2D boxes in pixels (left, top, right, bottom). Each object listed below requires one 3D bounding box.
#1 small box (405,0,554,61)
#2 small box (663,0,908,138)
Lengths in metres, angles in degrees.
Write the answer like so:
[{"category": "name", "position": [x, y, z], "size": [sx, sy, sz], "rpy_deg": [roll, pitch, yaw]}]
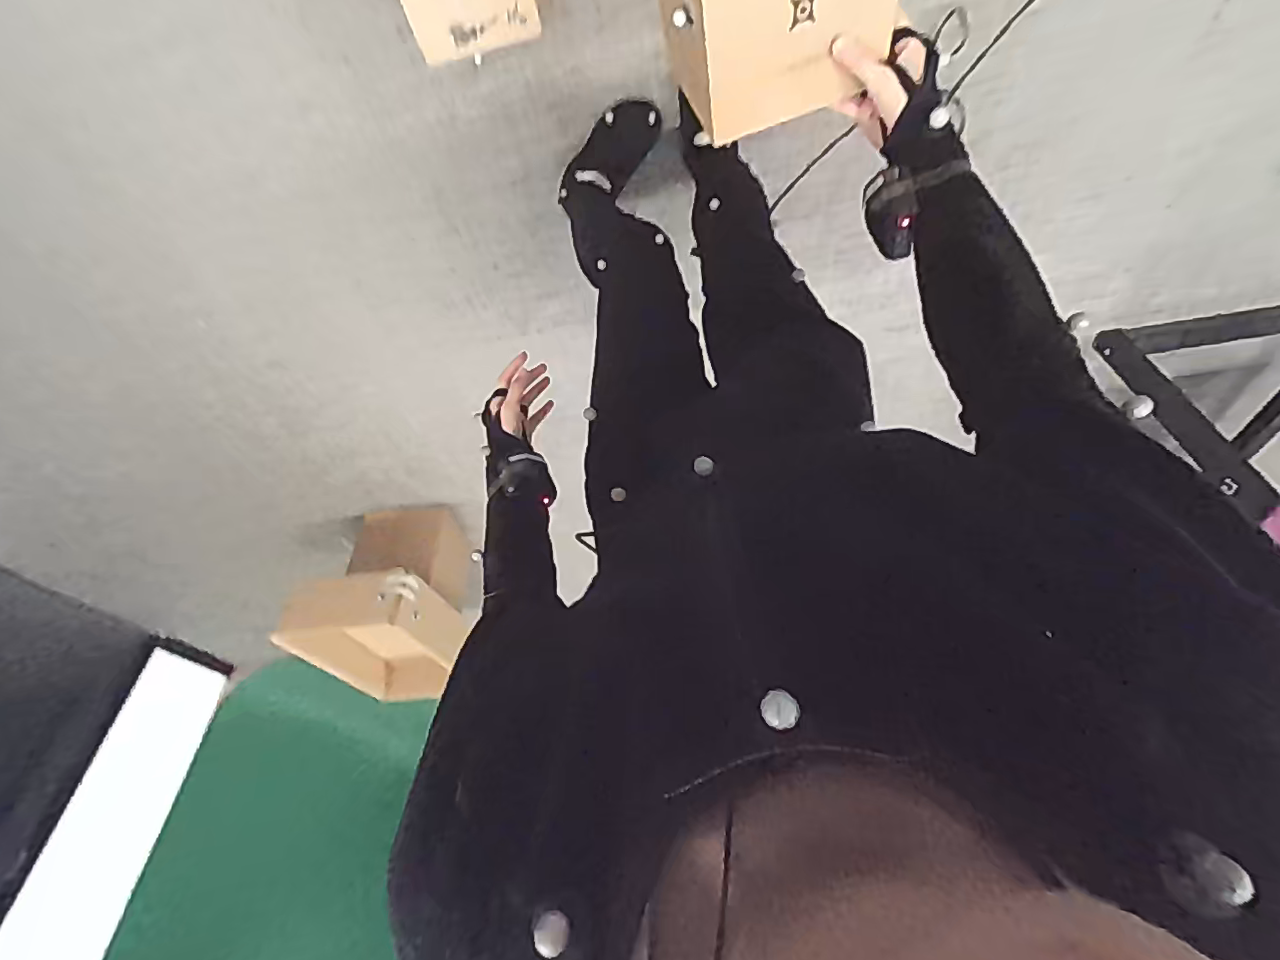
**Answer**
[{"category": "small box", "position": [-0.218, -0.681, 0.694], "size": [0.168, 0.176, 0.179], "rpy_deg": [-8, 139, 9]}, {"category": "small box", "position": [0.111, -0.440, 0.451], "size": [0.168, 0.176, 0.179], "rpy_deg": [-18, 151, 3]}]
